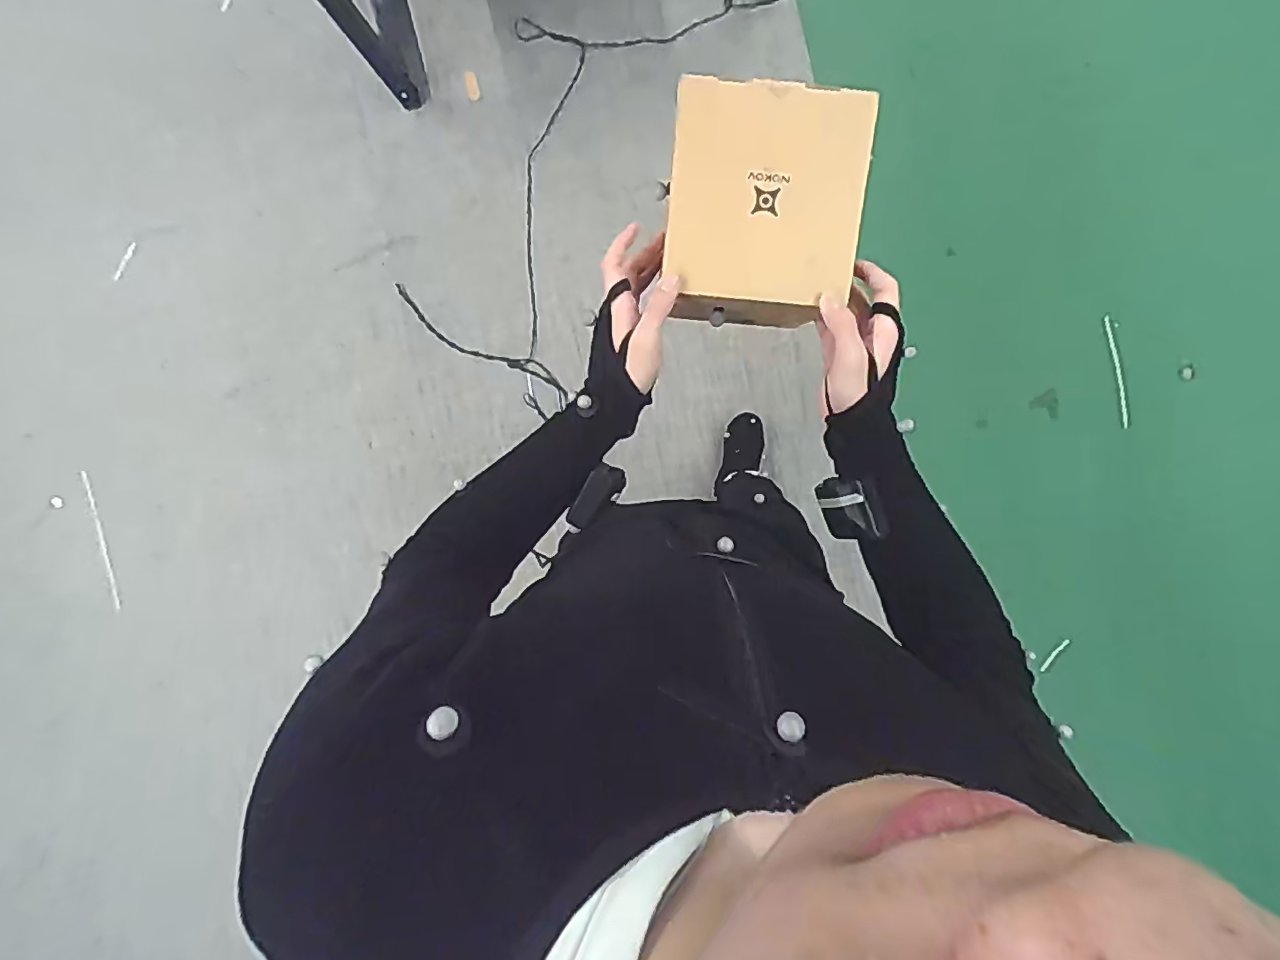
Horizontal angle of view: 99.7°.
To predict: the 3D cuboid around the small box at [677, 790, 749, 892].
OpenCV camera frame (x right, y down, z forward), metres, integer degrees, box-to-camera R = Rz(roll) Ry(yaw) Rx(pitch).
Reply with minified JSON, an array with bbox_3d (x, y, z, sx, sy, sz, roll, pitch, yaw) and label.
[{"bbox_3d":[0.199,0.992,1.505,0.168,0.176,0.179,-12,91,7],"label":"small box"}]
